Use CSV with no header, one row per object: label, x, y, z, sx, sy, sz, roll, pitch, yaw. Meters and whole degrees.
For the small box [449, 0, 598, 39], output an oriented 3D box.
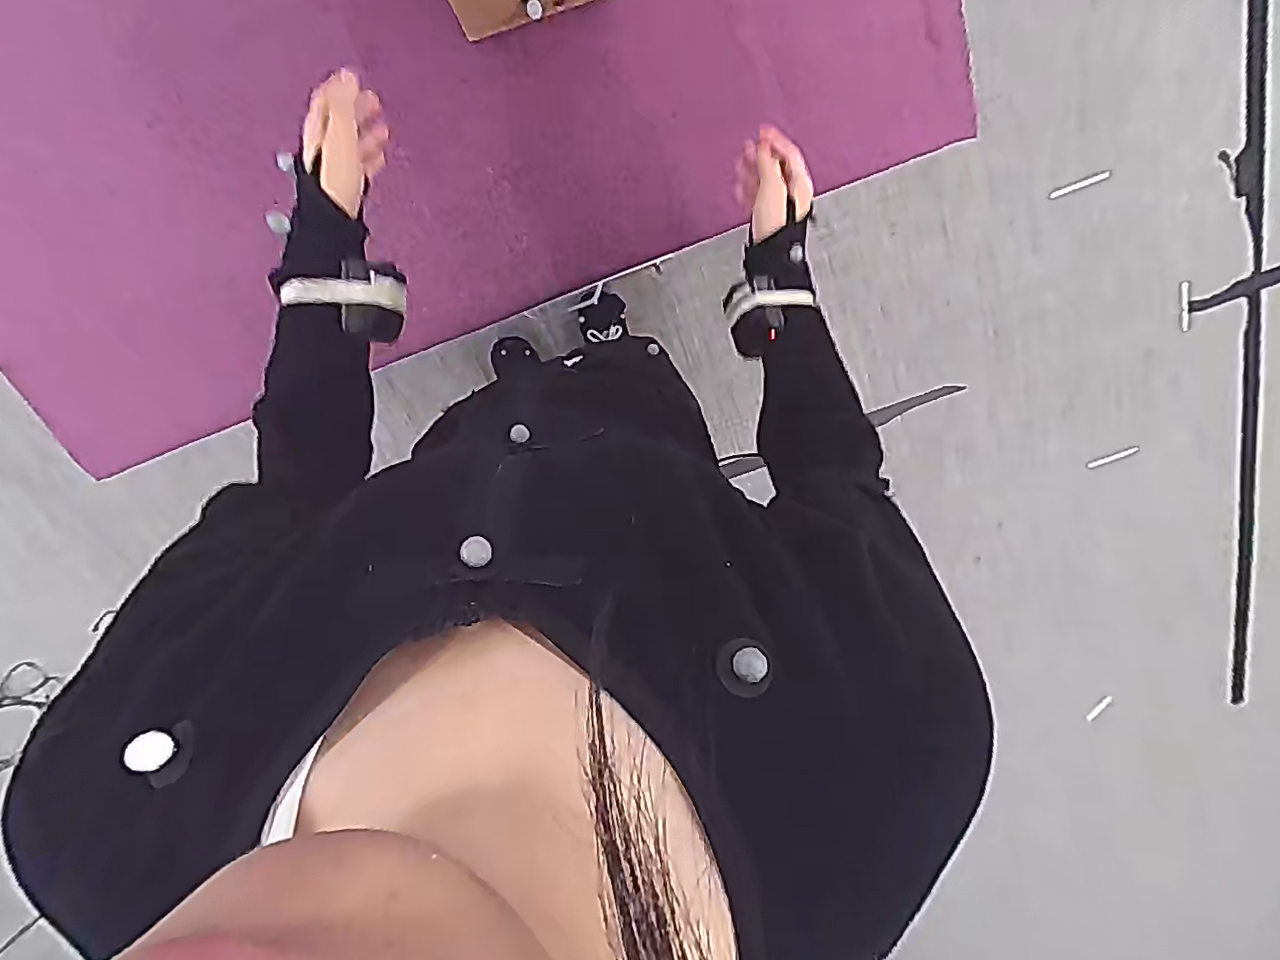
small box,-0.128,-0.549,0.482,0.168,0.176,0.179,-17,111,2
